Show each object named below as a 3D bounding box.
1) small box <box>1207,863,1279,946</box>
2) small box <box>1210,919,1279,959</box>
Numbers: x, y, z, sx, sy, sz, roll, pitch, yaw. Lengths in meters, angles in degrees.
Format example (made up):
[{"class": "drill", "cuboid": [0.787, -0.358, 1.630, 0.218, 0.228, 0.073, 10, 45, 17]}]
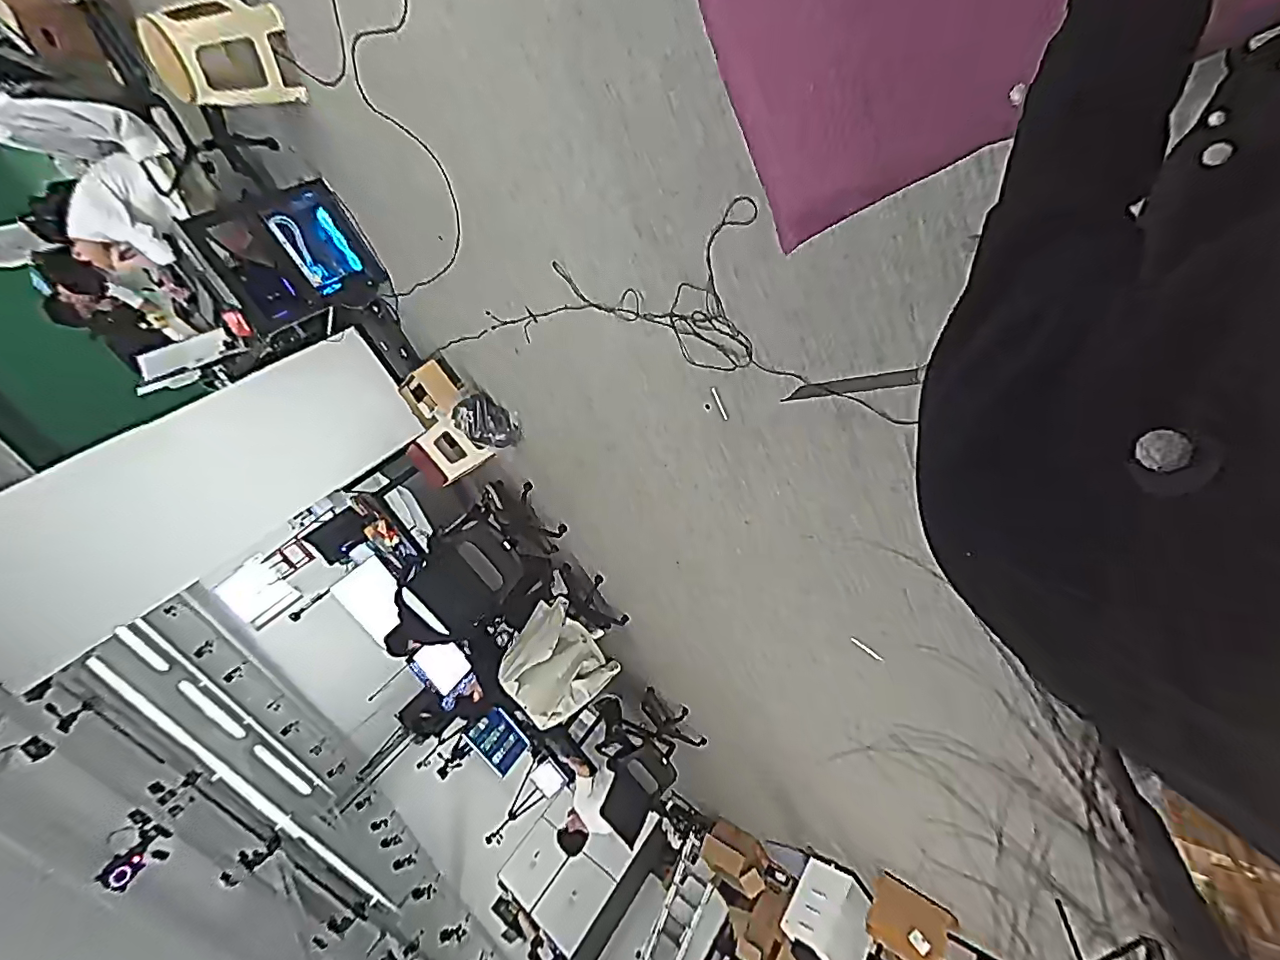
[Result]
[{"class": "small box", "cuboid": [1.669, 1.193, 1.463, 0.179, 0.176, 0.168, -1, 124, 50]}, {"class": "small box", "cuboid": [1.569, 1.281, 1.369, 0.168, 0.176, 0.179, -1, 124, 49]}]
